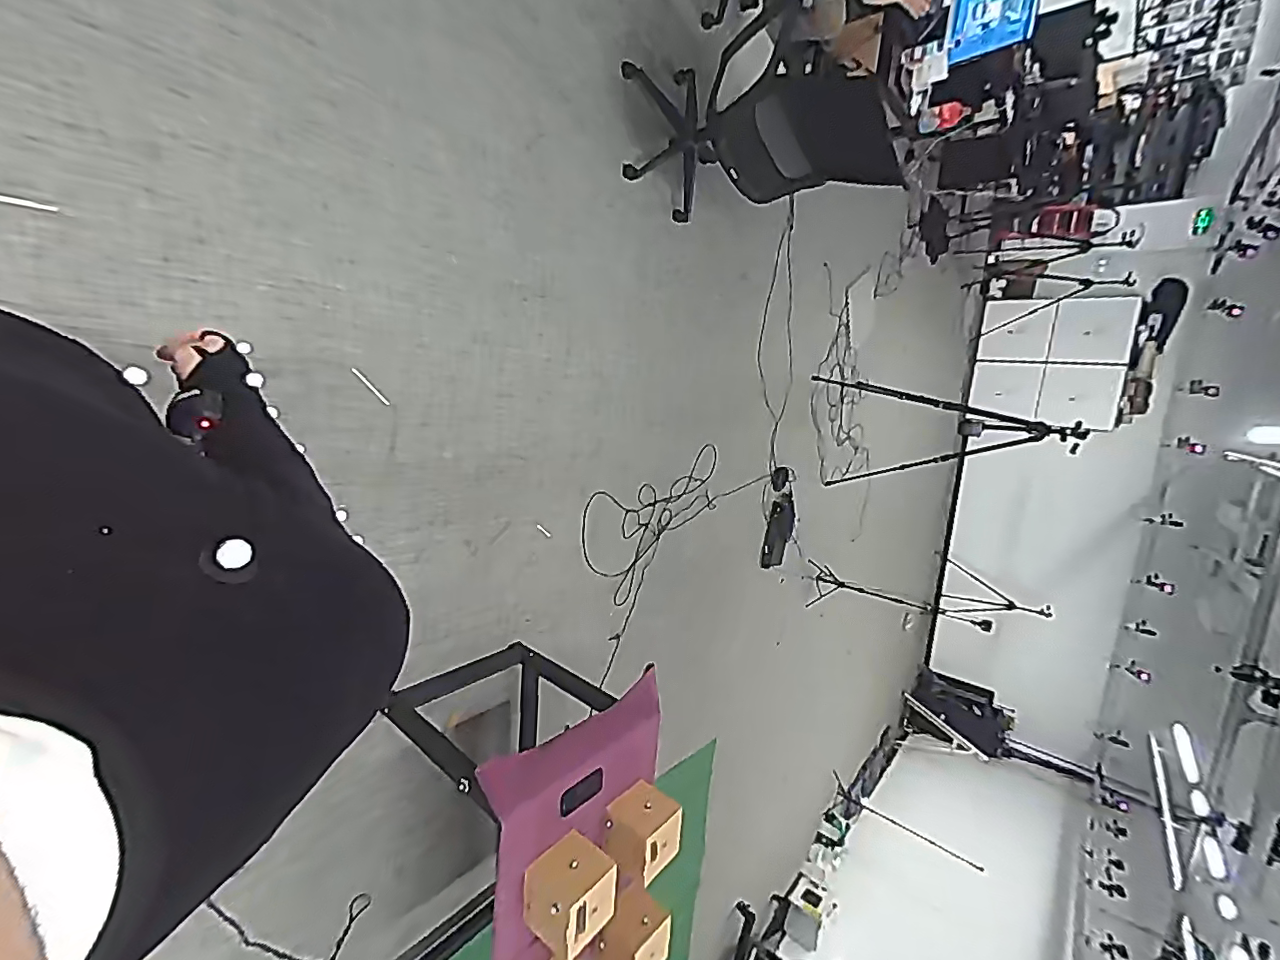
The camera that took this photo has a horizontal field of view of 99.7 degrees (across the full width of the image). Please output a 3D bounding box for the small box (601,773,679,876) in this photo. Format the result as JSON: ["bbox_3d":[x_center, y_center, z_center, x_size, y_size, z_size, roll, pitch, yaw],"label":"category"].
[{"bbox_3d":[-0.003,1.043,1.653,0.179,0.176,0.168,-8,106,-49],"label":"small box"}]

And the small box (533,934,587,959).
[{"bbox_3d":[-0.228,1.433,1.500,0.179,0.176,0.168,-7,106,-49],"label":"small box"}]

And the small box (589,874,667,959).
[{"bbox_3d":[-0.039,1.418,1.723,0.179,0.176,0.168,-6,104,-49],"label":"small box"}]
